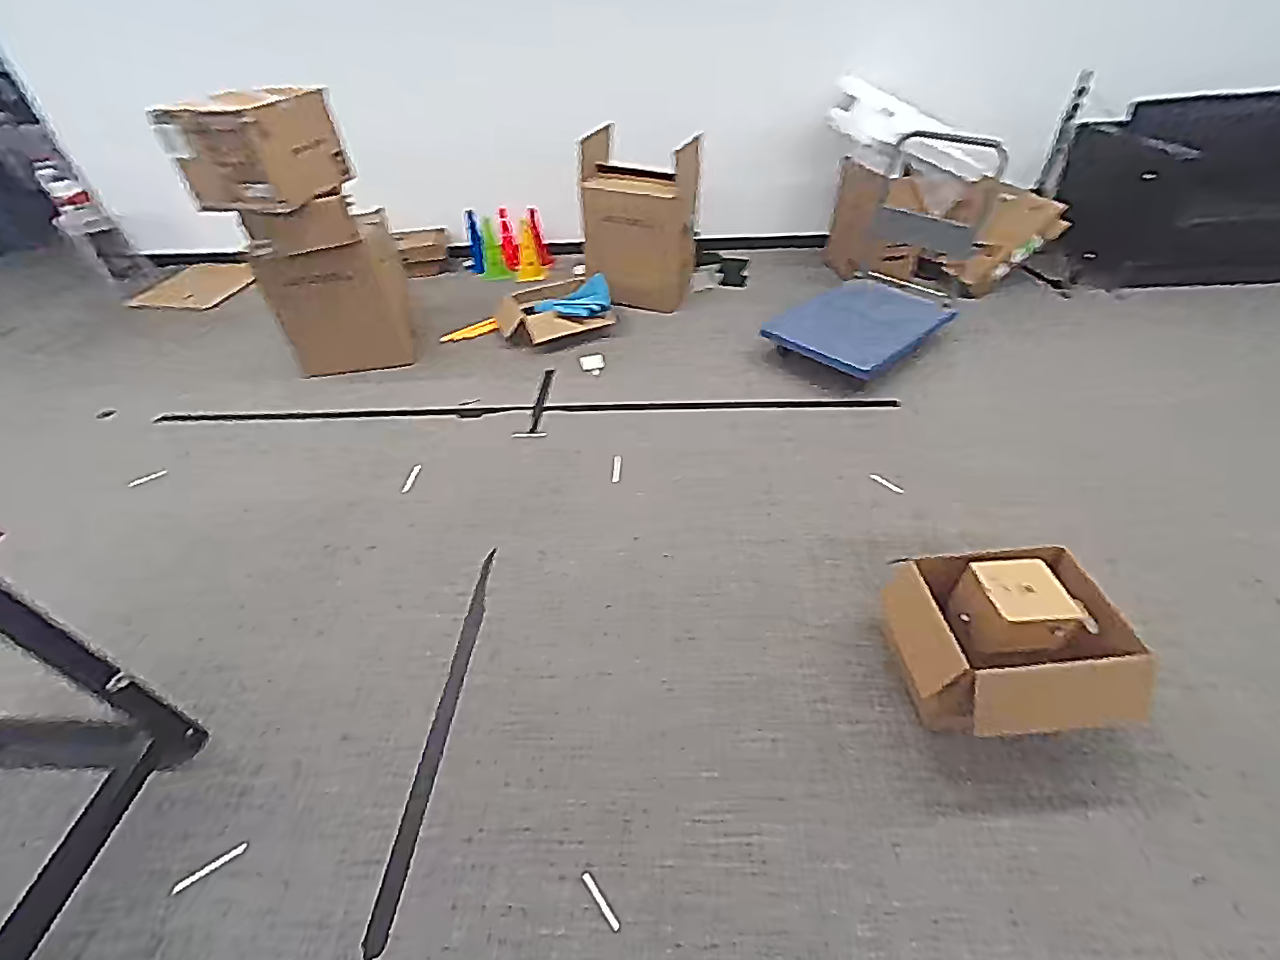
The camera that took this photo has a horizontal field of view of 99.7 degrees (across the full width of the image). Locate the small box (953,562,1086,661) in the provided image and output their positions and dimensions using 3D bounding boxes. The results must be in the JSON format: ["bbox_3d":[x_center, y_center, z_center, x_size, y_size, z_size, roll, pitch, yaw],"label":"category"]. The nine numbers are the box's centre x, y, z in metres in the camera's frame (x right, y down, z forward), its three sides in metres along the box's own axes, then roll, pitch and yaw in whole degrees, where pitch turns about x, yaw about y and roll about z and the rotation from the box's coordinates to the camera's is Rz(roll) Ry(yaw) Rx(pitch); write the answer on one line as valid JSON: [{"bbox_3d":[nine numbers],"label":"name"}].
[{"bbox_3d":[0.889,0.315,1.288,0.179,0.176,0.168,-3,42,1],"label":"small box"}]
